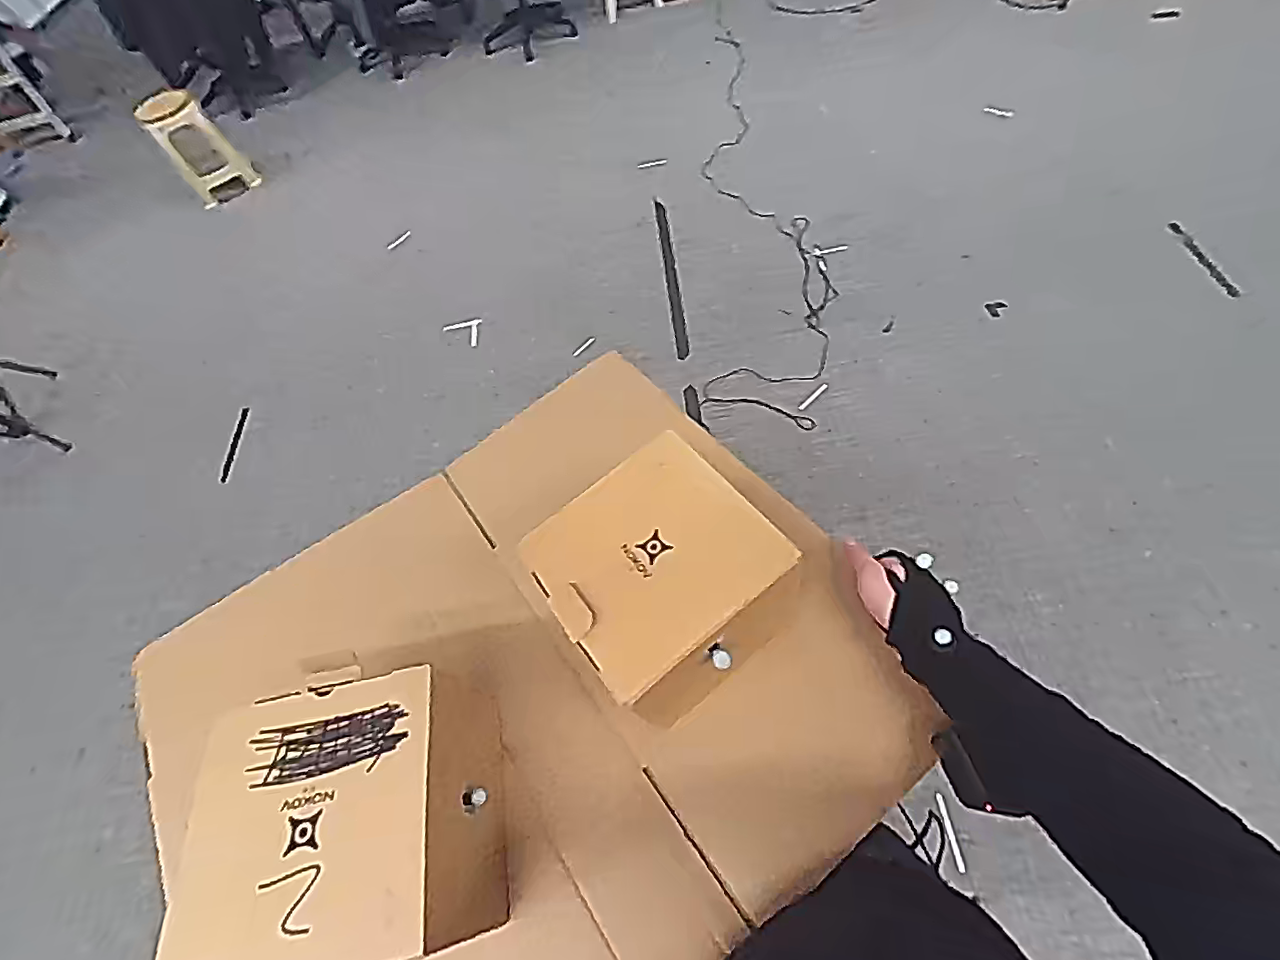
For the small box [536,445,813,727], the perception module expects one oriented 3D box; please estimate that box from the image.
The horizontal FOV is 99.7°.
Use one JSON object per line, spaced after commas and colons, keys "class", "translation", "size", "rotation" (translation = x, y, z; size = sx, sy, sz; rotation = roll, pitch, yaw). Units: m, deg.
{"class": "small box", "translation": [0.037, 0.106, 0.513], "size": [0.179, 0.176, 0.168], "rotation": [-37, 59, -8]}
